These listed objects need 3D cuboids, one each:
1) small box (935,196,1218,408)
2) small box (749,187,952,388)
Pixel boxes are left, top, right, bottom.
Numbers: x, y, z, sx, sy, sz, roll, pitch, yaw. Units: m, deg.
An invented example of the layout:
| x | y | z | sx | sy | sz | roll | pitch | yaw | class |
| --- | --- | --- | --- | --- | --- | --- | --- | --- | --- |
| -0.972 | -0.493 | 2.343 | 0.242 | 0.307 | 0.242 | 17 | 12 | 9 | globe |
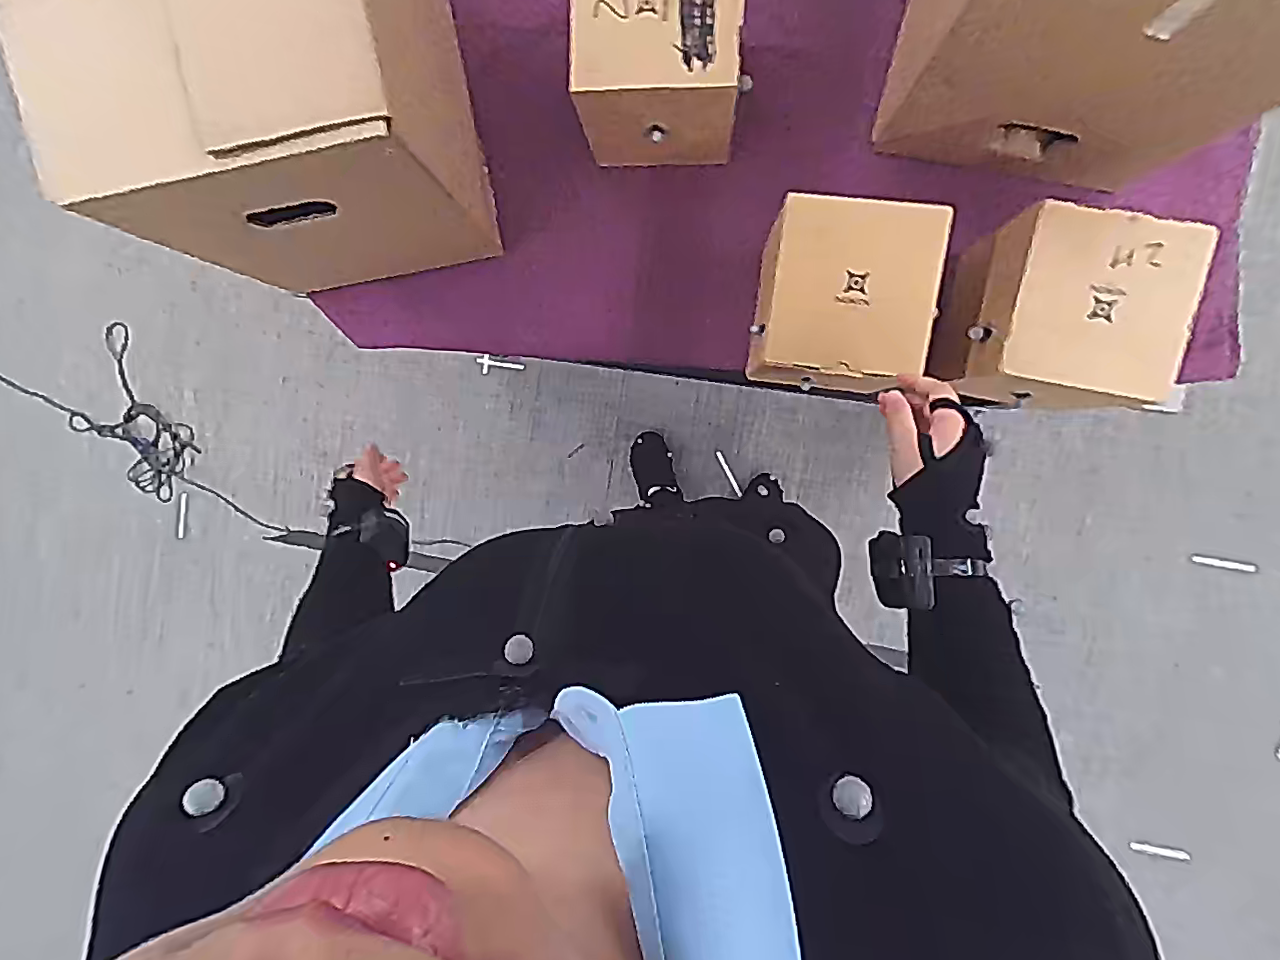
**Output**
| x | y | z | sx | sy | sz | roll | pitch | yaw | class |
| --- | --- | --- | --- | --- | --- | --- | --- | --- | --- |
| 0.462 | -0.182 | 0.607 | 0.168 | 0.176 | 0.179 | 12 | 95 | 4 | small box |
| 0.226 | -0.208 | 0.629 | 0.168 | 0.176 | 0.179 | 7 | 97 | 4 | small box |
